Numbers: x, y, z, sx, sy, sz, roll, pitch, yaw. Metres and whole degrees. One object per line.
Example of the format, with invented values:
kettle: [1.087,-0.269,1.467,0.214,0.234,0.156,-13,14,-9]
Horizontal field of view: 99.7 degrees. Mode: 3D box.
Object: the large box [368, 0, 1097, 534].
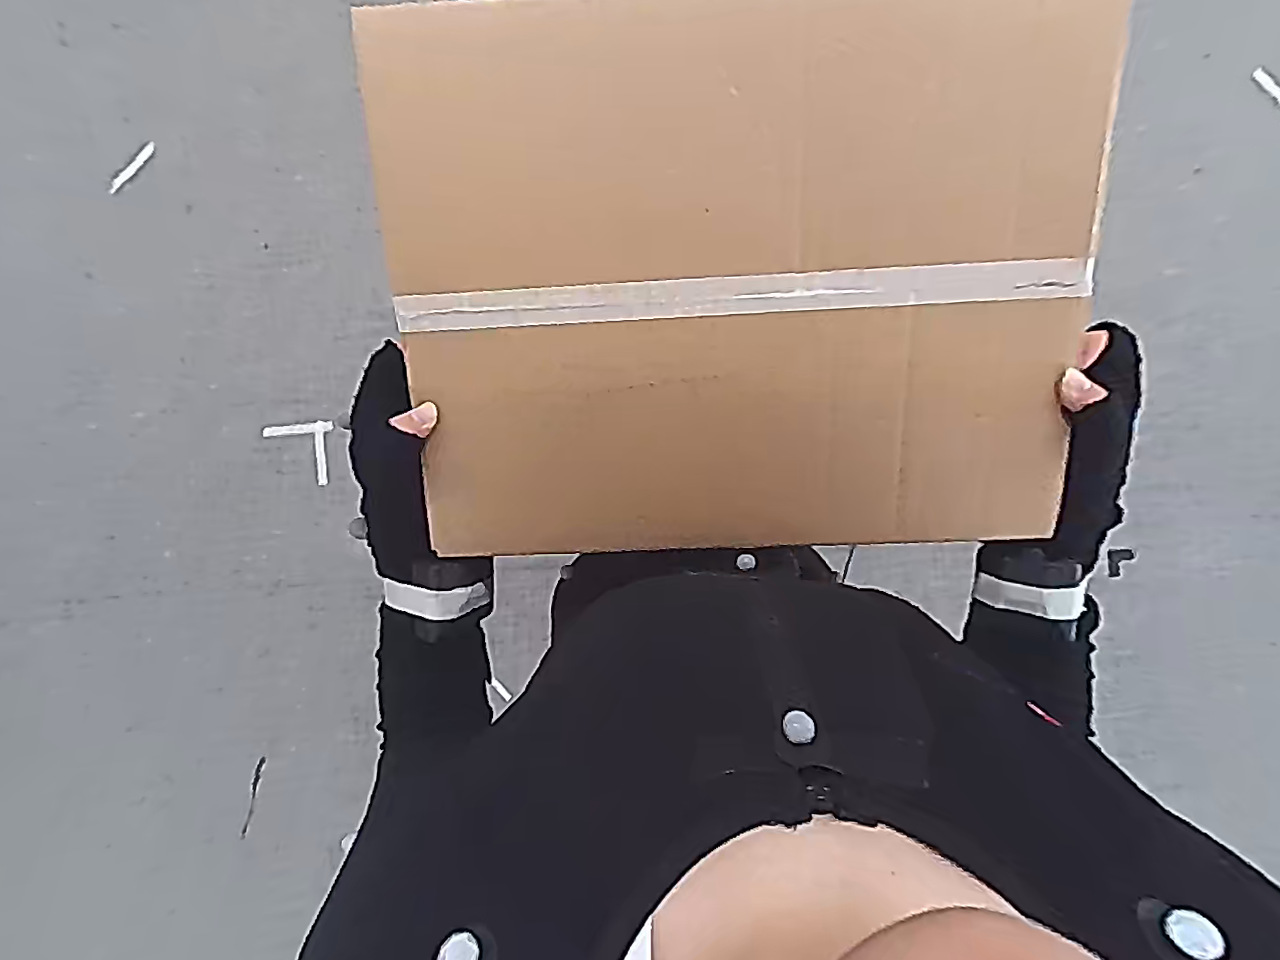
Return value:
large box: [0.055,-0.156,0.471,0.408,0.320,0.320,-2,105,2]
